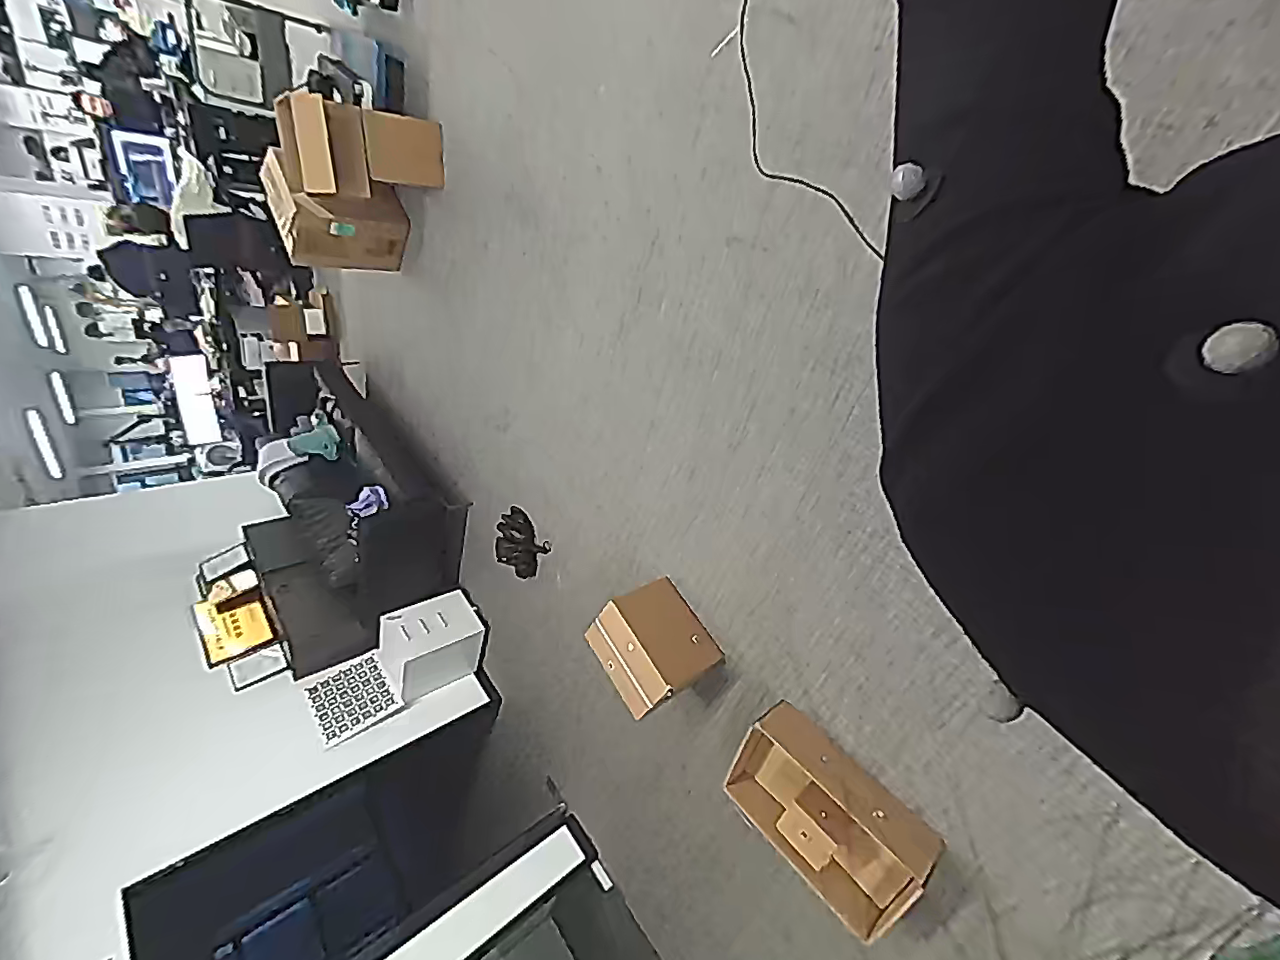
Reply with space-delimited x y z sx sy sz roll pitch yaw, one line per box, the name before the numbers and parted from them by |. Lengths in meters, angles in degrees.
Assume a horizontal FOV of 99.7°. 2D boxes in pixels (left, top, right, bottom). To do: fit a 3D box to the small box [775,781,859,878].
small box | 0.585 1.137 1.774 0.179 0.176 0.168 39 127 36
